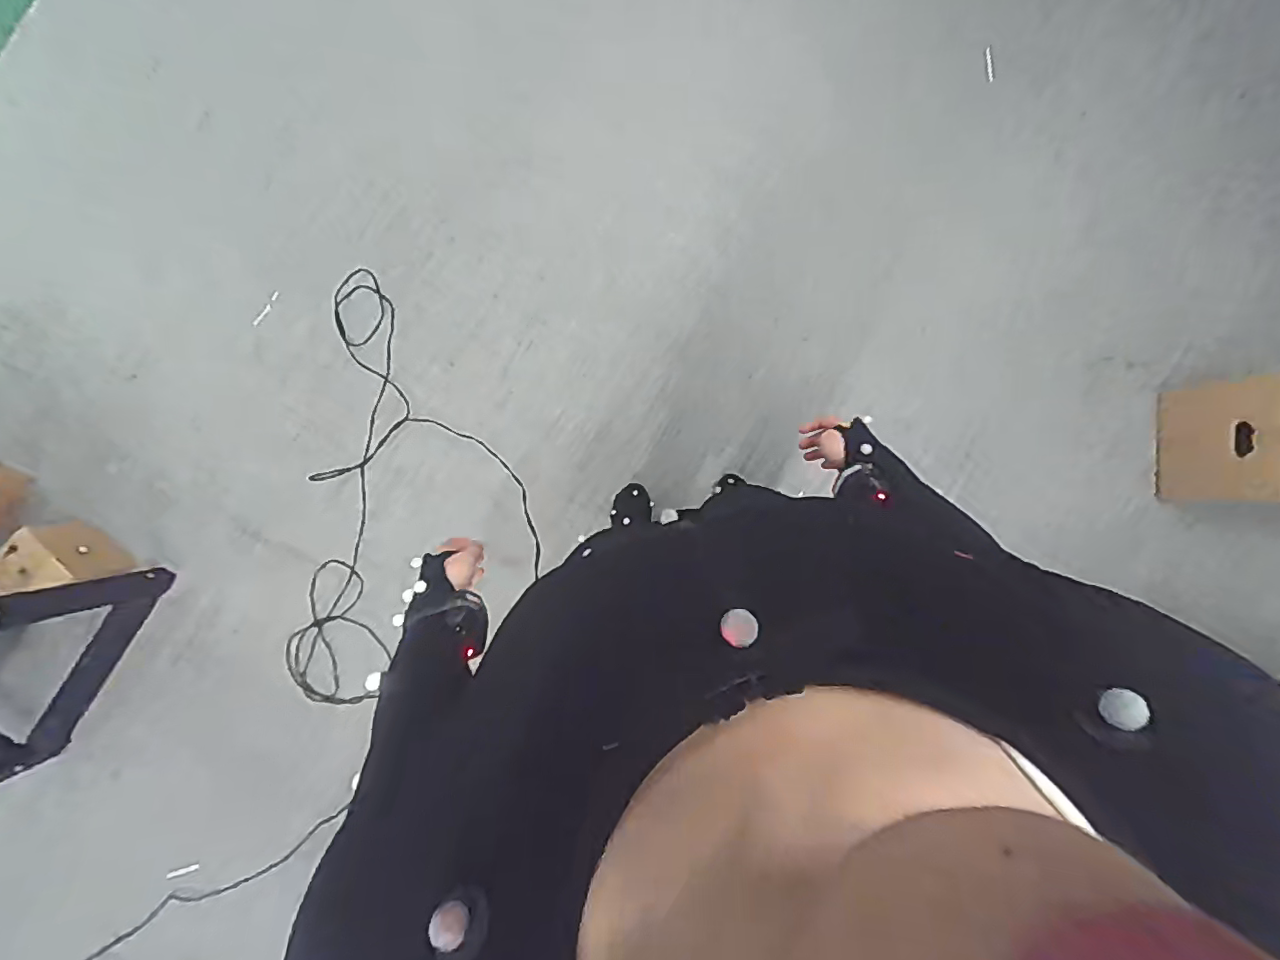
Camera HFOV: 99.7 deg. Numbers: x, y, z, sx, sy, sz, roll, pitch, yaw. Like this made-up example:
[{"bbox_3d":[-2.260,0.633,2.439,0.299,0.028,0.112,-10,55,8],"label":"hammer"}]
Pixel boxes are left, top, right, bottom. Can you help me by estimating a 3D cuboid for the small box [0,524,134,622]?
[{"bbox_3d":[-1.481,0.228,1.389,0.168,0.176,0.179,-45,91,-2],"label":"small box"}]
